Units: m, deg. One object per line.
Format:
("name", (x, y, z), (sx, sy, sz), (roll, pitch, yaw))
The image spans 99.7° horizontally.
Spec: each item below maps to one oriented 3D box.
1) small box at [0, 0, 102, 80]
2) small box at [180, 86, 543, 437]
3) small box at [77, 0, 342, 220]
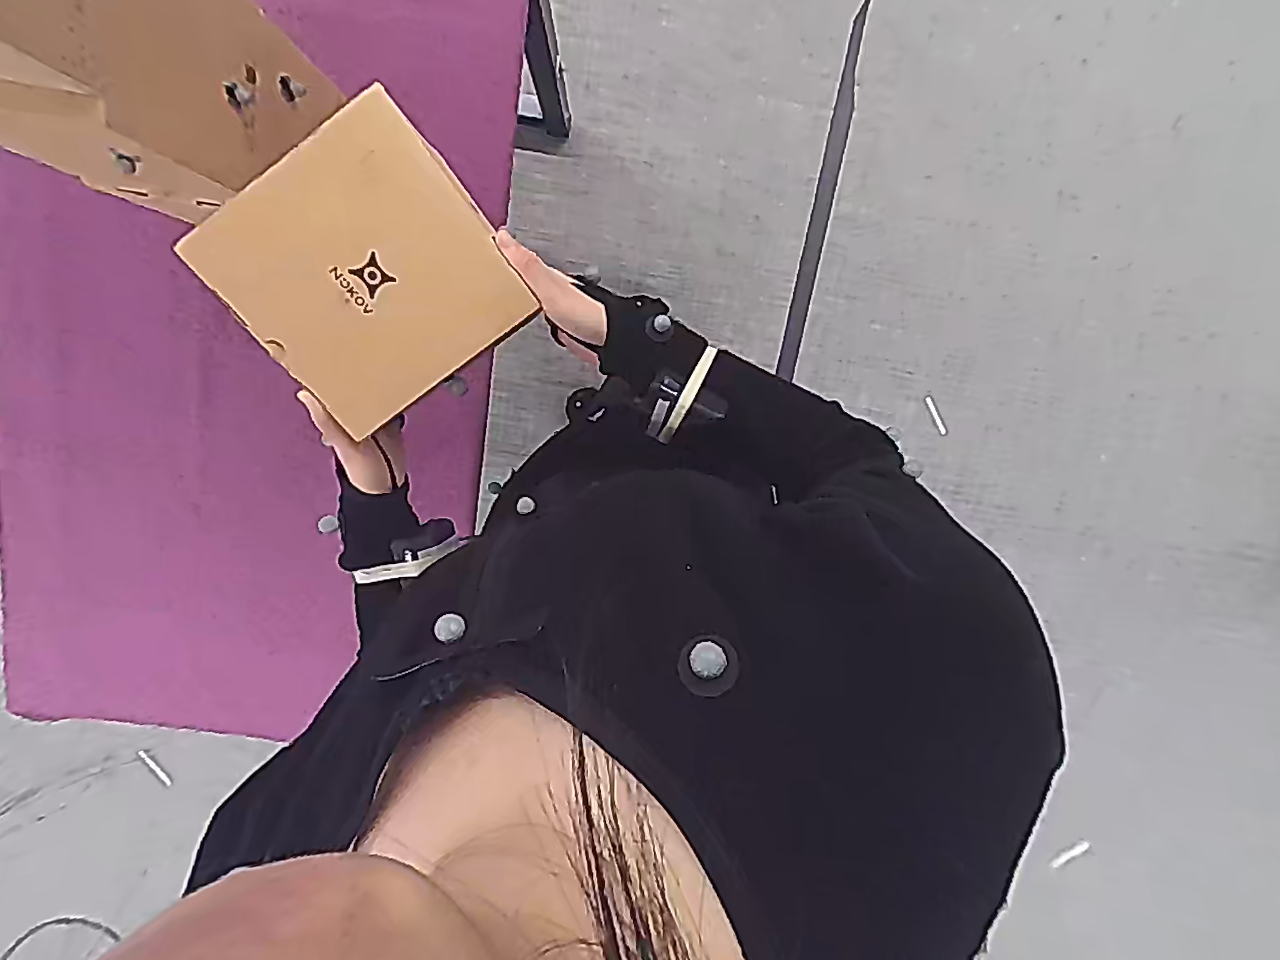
("small box", (-0.423, -0.330, 0.256), (0.179, 0.176, 0.168), (7, 101, -3))
("small box", (-0.197, -0.166, 0.446), (0.179, 0.176, 0.168), (-34, 109, 5))
("small box", (-0.438, -0.372, 0.581), (0.168, 0.176, 0.179), (7, 101, -3))
